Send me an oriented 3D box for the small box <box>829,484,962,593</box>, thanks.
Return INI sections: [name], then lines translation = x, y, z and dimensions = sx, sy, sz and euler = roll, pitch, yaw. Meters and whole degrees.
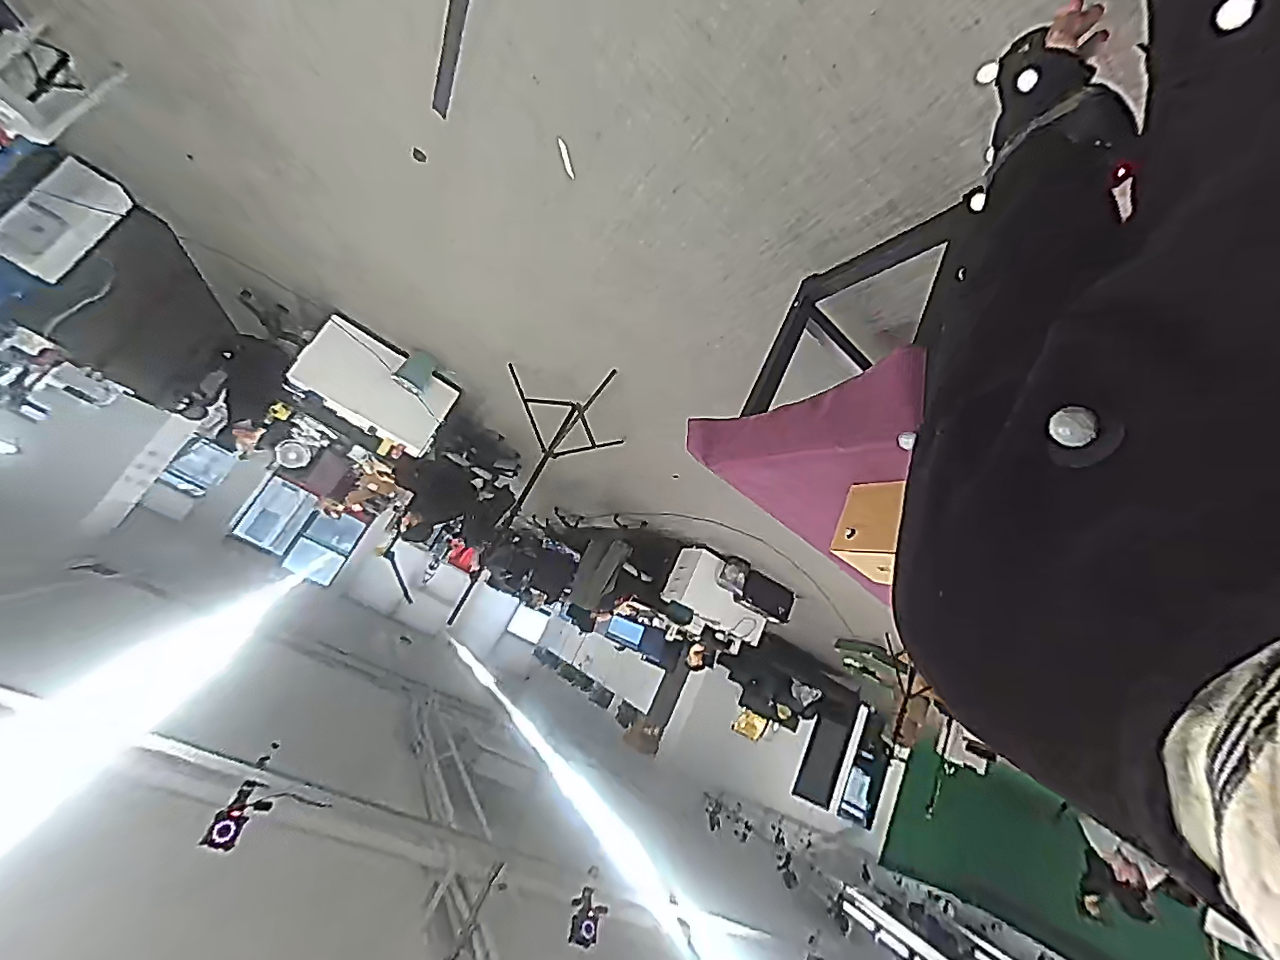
[small box]
translation = 0.543, 0.121, 1.149
dimensions = 0.168, 0.176, 0.179
euler = 32, 162, -22
